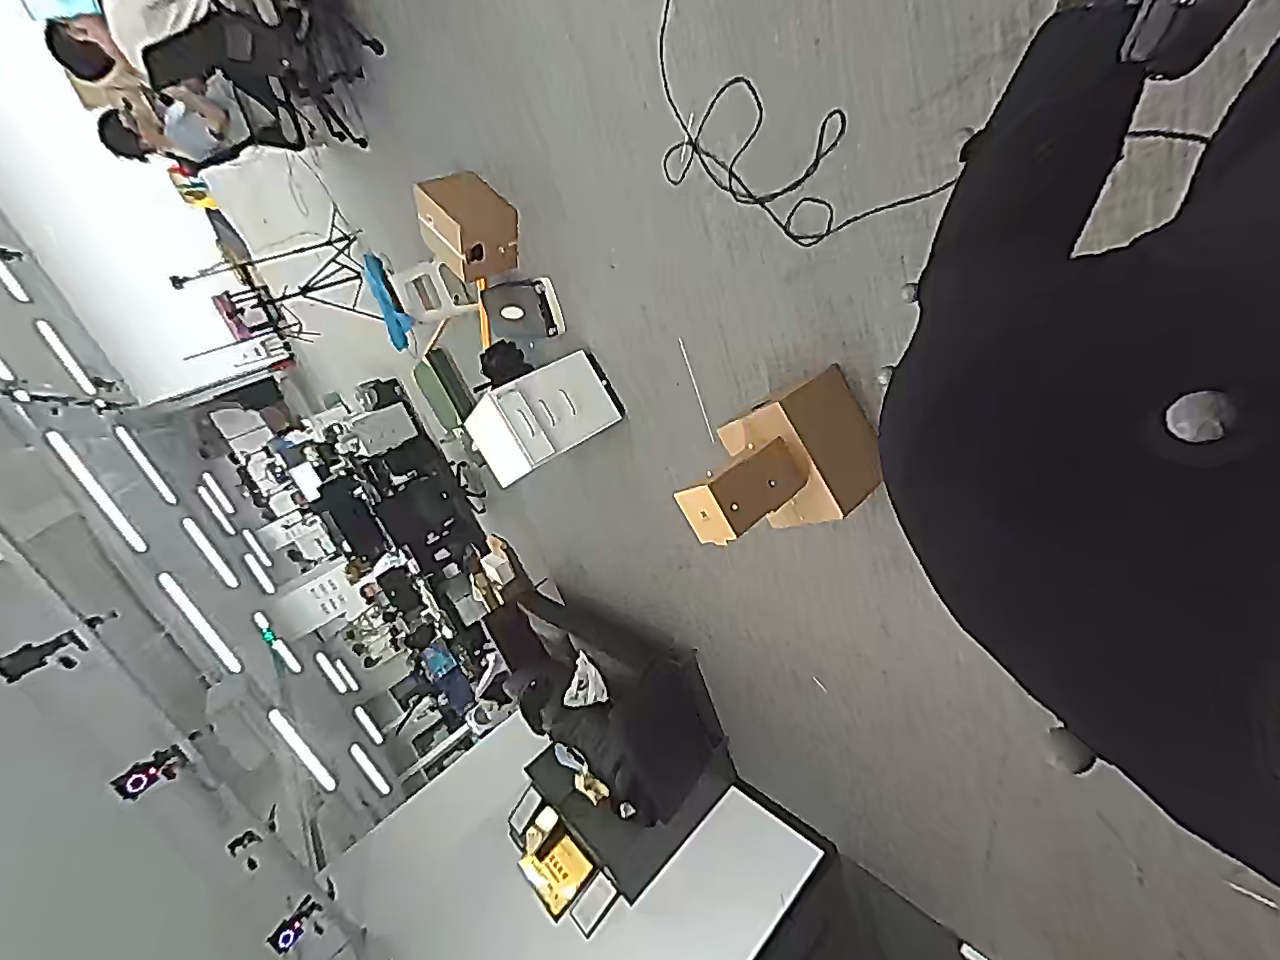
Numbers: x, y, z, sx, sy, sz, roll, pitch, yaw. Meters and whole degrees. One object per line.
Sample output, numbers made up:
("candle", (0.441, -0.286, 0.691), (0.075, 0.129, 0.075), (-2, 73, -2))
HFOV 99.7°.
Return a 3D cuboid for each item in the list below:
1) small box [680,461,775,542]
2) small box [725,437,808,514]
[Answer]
("small box", (0.255, 0.058, 1.568), (0.179, 0.176, 0.168), (60, 149, -6))
("small box", (0.379, -0.006, 1.652), (0.179, 0.176, 0.168), (61, 149, -5))
